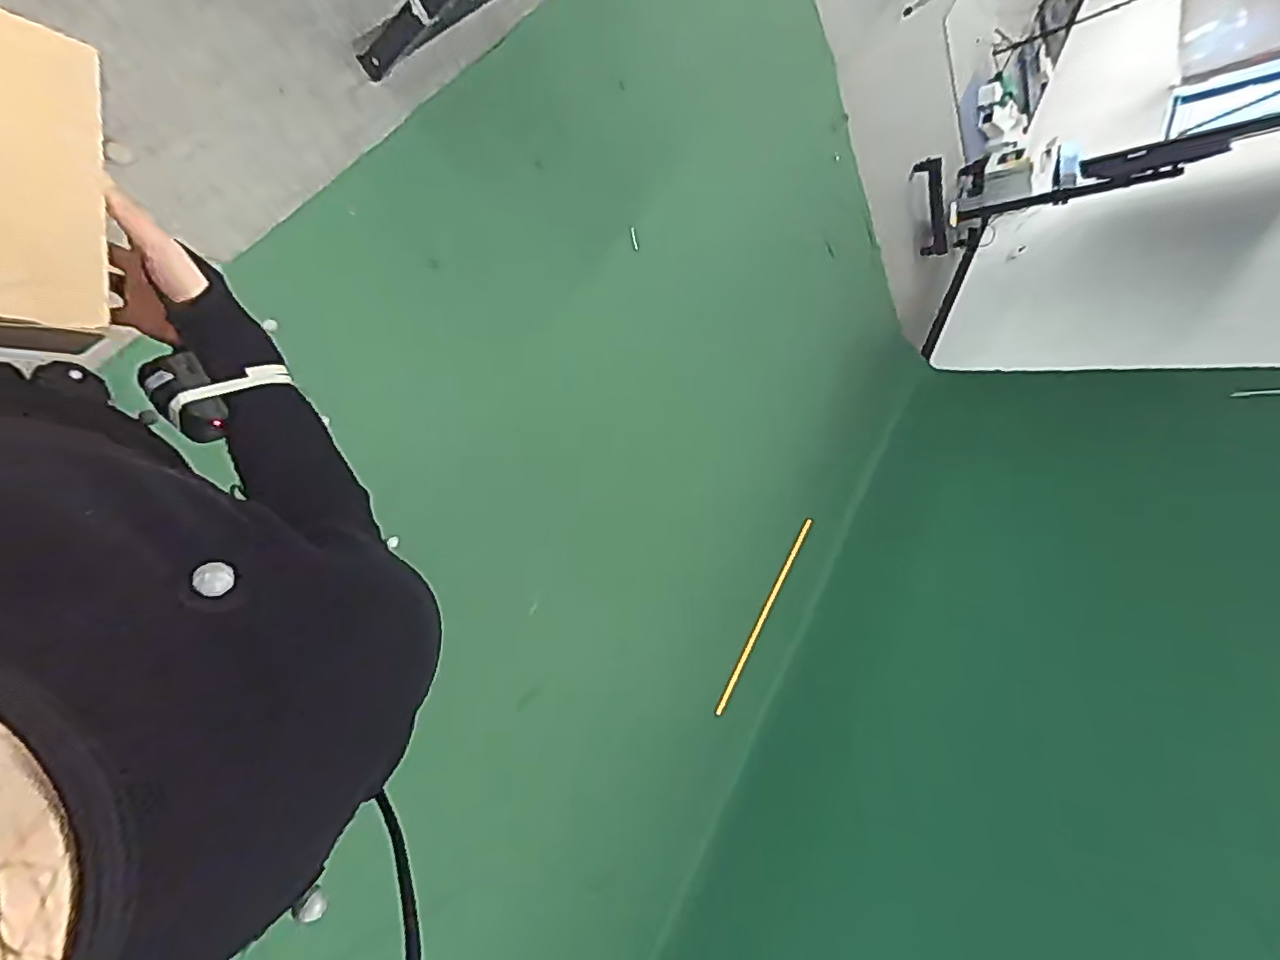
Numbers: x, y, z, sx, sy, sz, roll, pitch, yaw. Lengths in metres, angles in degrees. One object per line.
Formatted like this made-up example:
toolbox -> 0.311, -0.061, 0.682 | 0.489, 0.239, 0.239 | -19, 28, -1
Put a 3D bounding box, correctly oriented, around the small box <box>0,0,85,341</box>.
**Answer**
small box -> -0.449, -0.187, 0.310 | 0.168, 0.176, 0.179 | -2, 96, -51
